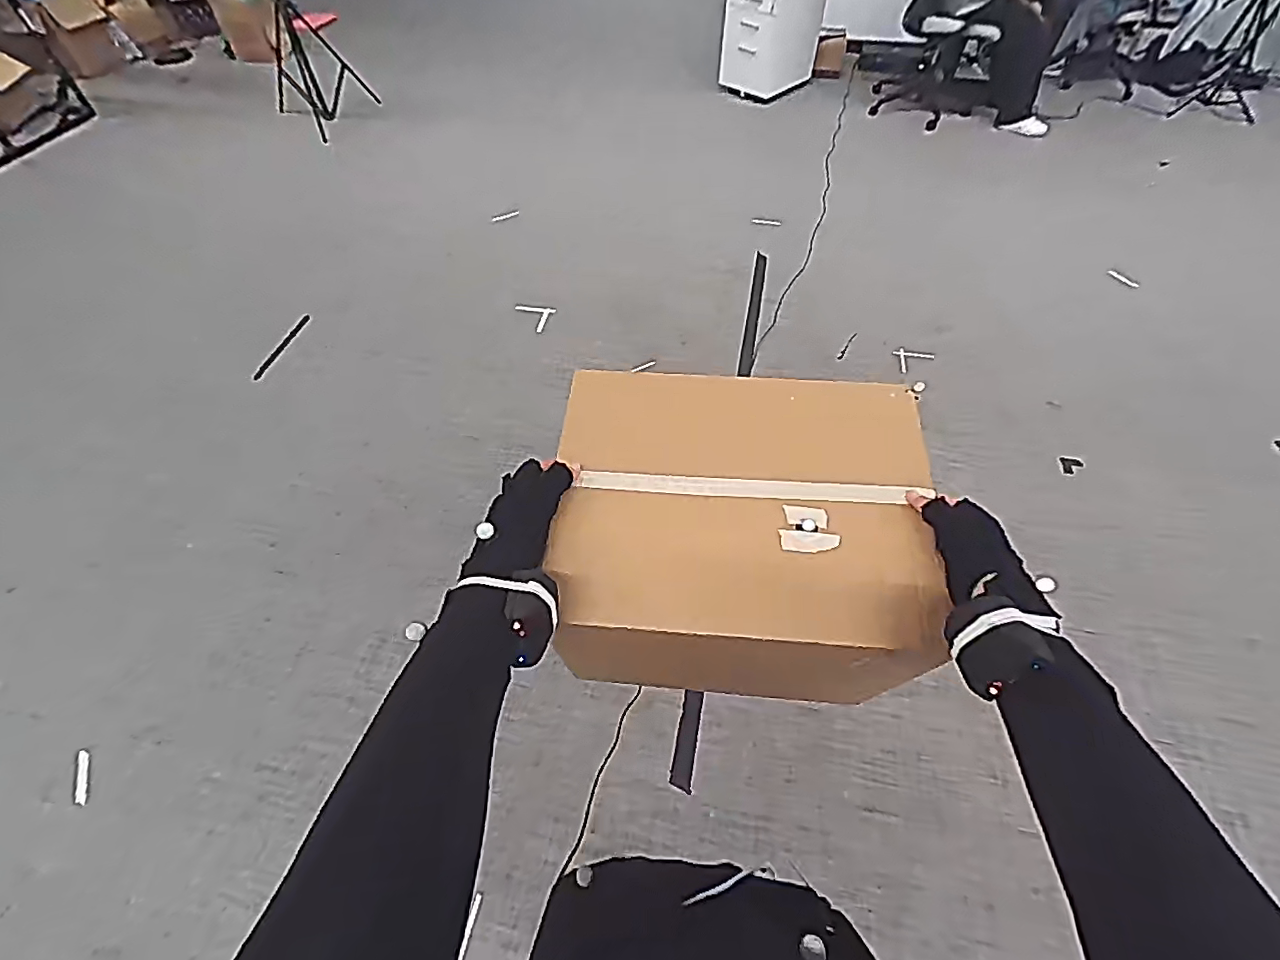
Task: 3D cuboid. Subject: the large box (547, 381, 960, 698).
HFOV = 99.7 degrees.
[{"bbox_3d":[0.120,0.092,0.719,0.408,0.320,0.320,4,61,5],"label":"large box"}]
